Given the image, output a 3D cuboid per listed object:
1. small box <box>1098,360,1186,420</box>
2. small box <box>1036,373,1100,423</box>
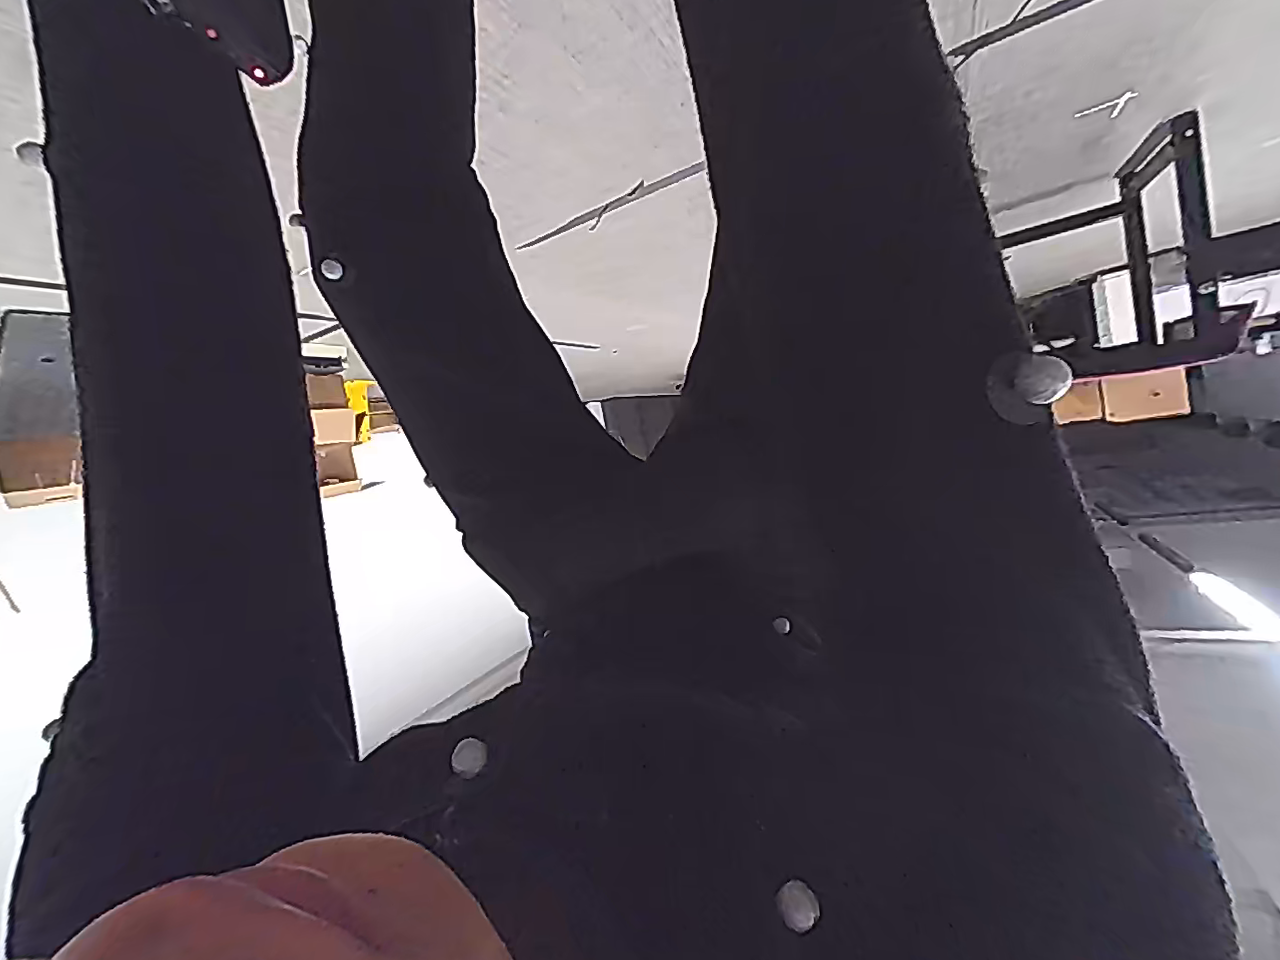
[{"bbox_3d":[1.706,-0.307,1.845,0.179,0.176,0.168,-9,-176,28],"label":"small box"},{"bbox_3d":[1.695,-0.328,2.149,0.168,0.176,0.179,-8,-175,29],"label":"small box"}]
